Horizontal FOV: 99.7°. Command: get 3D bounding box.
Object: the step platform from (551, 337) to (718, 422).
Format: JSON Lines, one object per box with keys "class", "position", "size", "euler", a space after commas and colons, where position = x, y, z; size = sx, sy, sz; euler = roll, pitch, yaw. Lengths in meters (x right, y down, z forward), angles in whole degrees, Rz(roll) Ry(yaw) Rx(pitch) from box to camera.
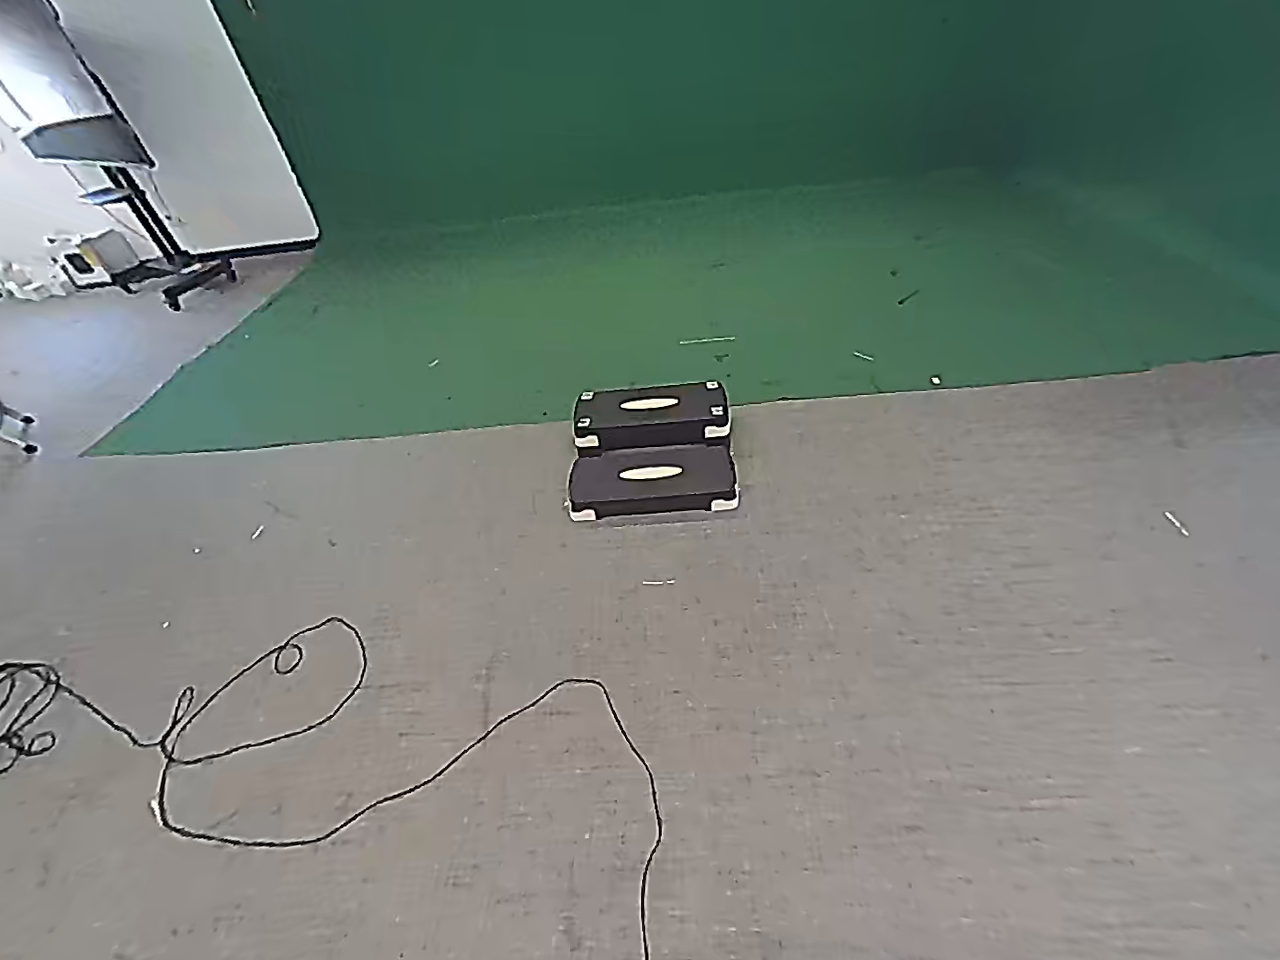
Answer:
{"class": "step platform", "position": [-0.016, -0.424, 2.274], "size": [0.684, 0.204, 0.286], "euler": [-5, 43, 5]}
